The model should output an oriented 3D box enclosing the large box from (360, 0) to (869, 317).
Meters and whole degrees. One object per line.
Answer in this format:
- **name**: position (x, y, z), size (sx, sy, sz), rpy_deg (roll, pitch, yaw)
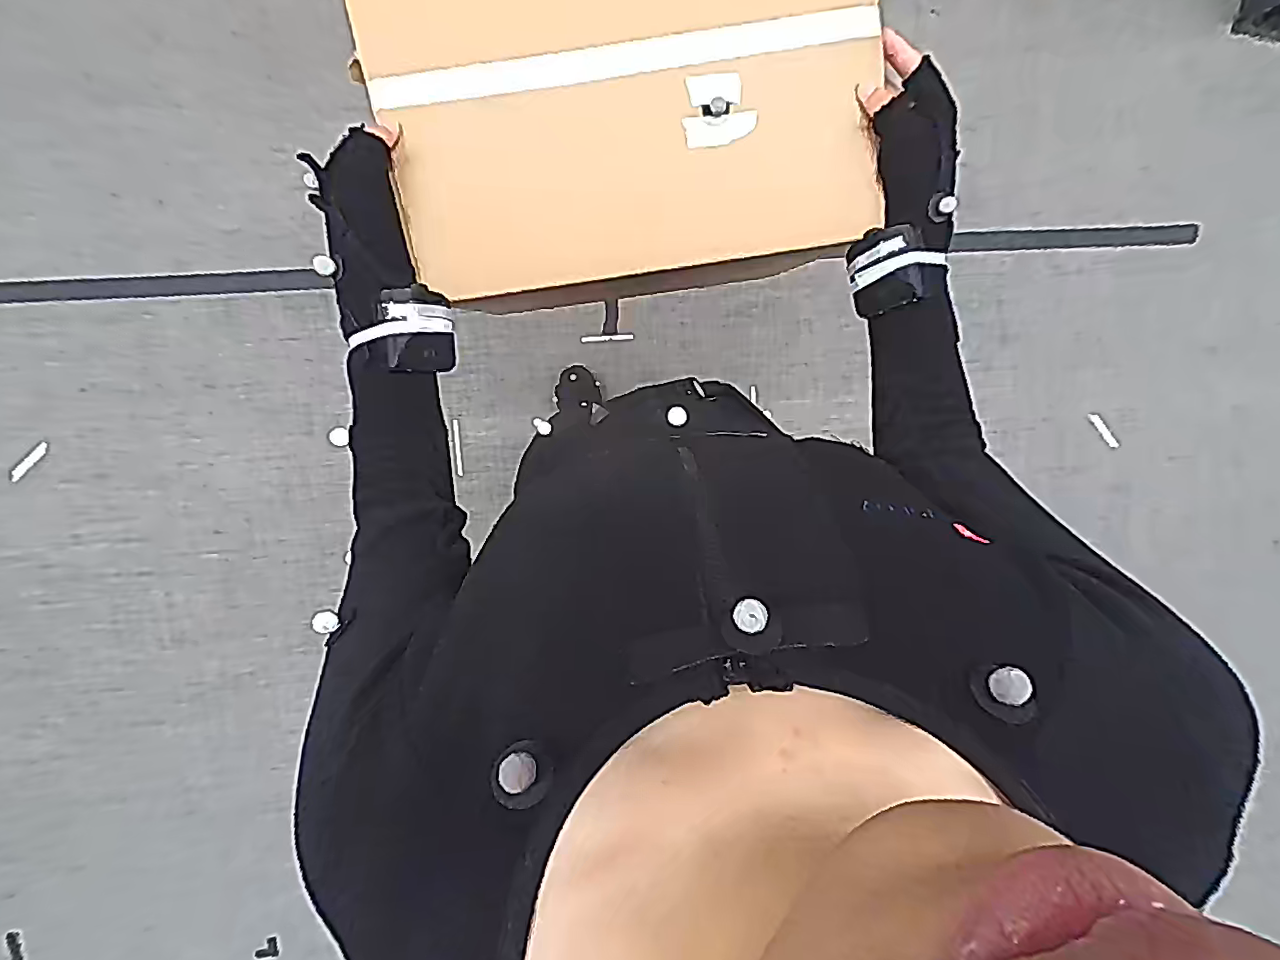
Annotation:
- **large box**: position (-0.022, -0.372, 0.589), size (0.408, 0.320, 0.320), rpy_deg (-9, 106, -1)
